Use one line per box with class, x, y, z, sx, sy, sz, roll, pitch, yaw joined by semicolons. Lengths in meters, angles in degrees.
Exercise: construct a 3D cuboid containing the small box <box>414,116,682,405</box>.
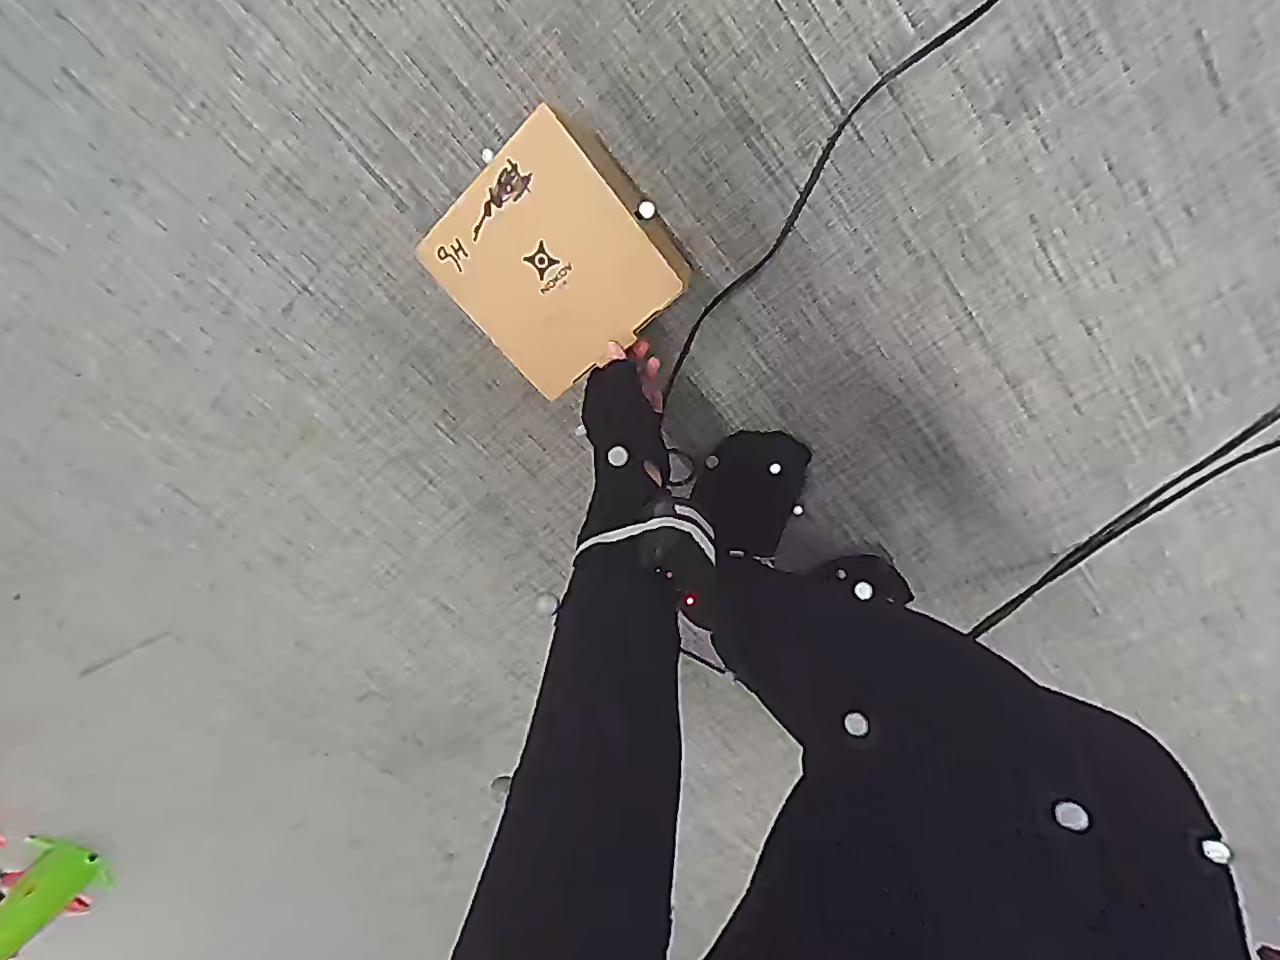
small box;-0.070;-0.210;0.527;0.168;0.176;0.179;-35;109;21
